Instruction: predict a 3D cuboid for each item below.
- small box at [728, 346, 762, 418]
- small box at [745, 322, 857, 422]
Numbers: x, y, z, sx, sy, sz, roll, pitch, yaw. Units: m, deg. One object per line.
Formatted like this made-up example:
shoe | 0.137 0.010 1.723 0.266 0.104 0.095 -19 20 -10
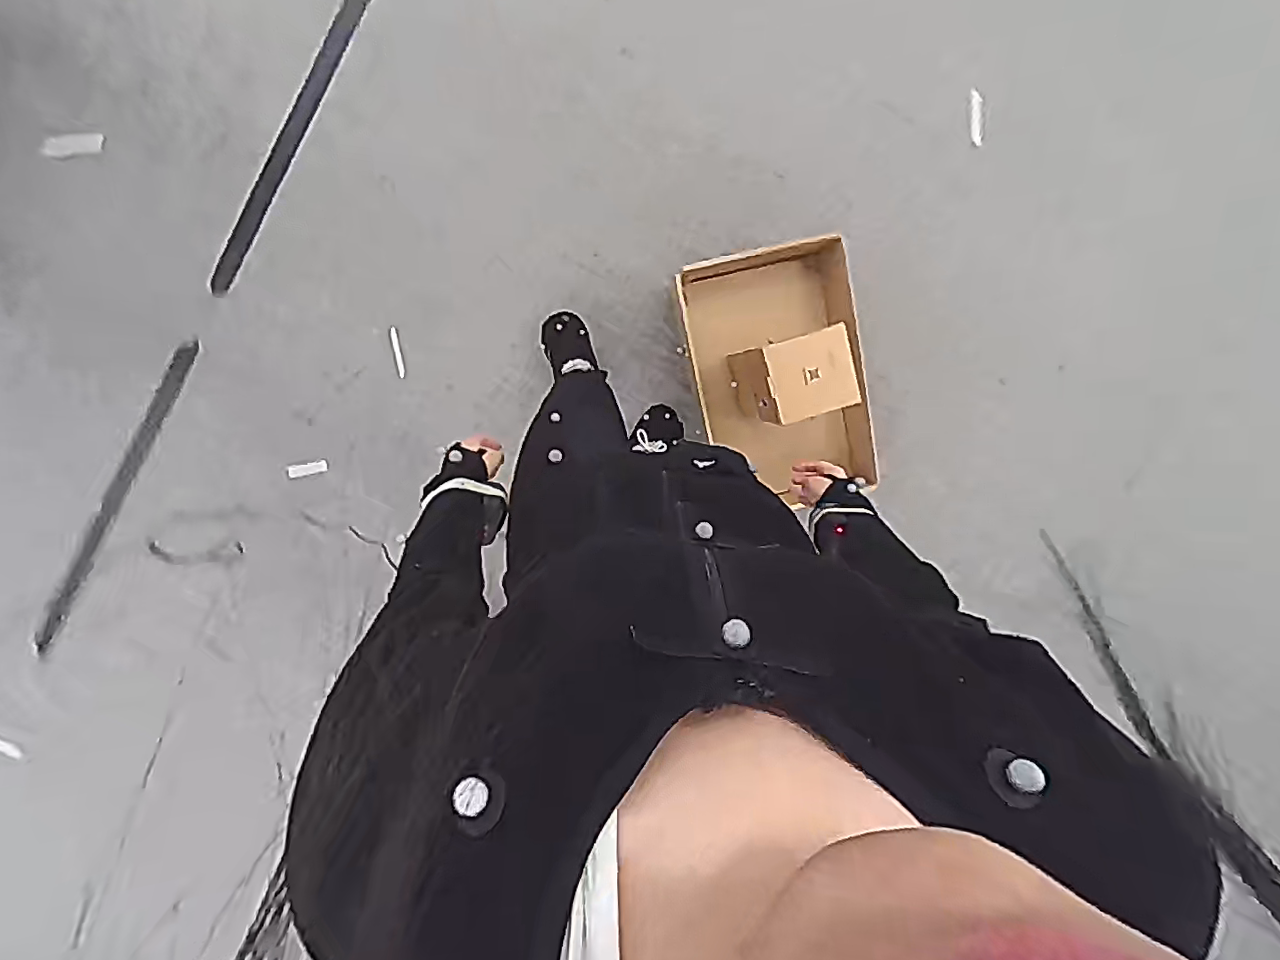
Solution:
small box | 0.331 -0.257 1.337 0.179 0.176 0.168 -13 101 0
small box | 0.340 -0.233 1.177 0.179 0.176 0.168 -17 102 -1
